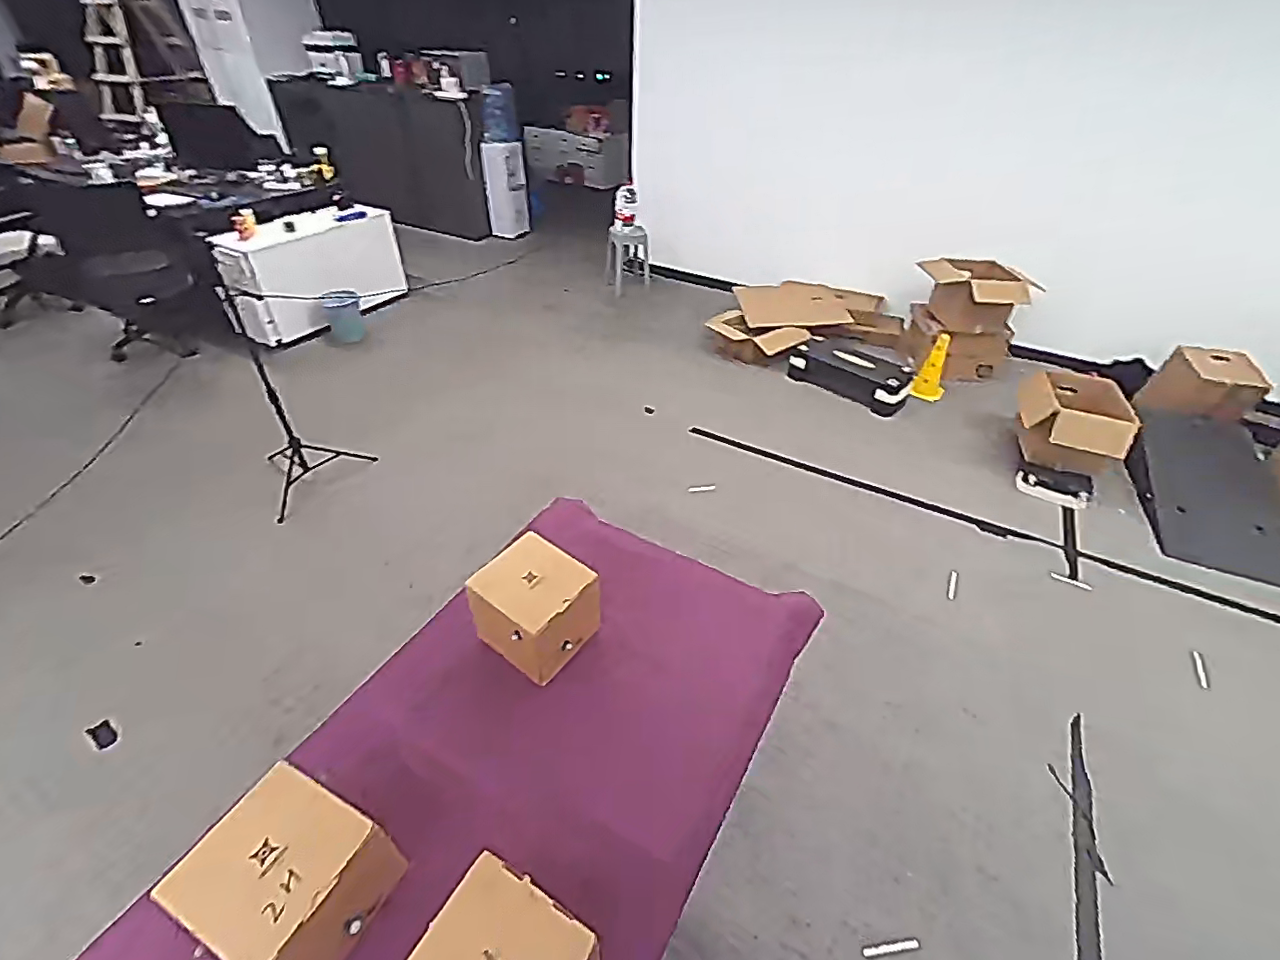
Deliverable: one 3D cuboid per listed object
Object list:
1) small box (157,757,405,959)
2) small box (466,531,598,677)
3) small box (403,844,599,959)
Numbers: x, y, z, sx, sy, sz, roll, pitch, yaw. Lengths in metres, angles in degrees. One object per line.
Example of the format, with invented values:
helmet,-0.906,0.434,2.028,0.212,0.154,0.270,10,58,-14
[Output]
small box,-0.437,0.500,0.686,0.179,0.176,0.168,19,43,19
small box,-0.196,0.234,1.016,0.179,0.176,0.168,27,46,25
small box,-0.161,0.571,0.612,0.168,0.176,0.179,21,43,22
